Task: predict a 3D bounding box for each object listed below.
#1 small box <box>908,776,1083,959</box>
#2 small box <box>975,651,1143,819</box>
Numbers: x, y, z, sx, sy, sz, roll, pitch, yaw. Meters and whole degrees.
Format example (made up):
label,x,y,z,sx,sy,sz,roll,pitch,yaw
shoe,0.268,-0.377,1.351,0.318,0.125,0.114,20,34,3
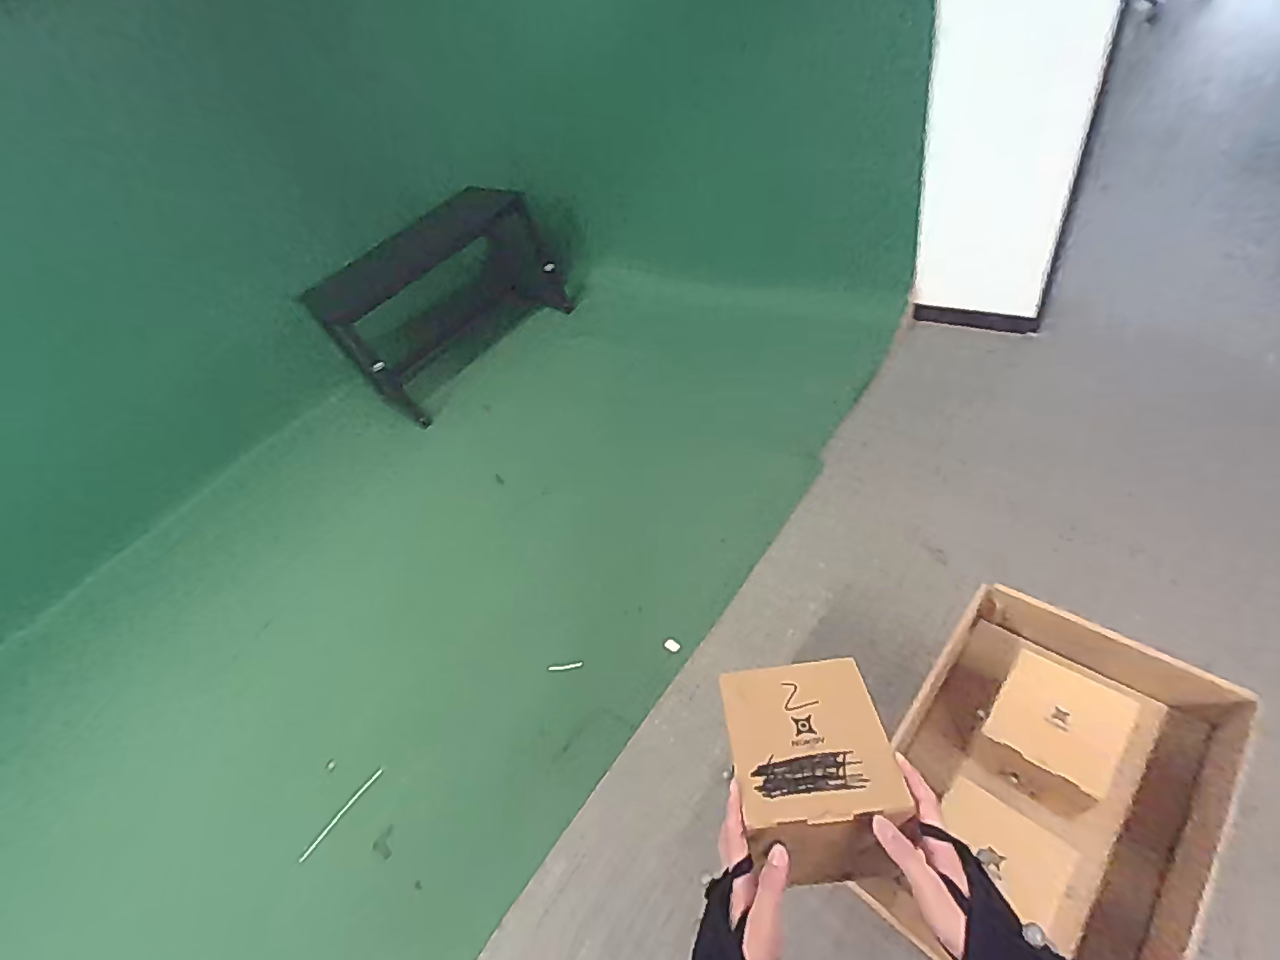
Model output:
label,x,y,z,sx,sy,sz,roll,pitch,yaw
small box,0.529,0.603,0.828,0.168,0.176,0.179,27,64,39
small box,0.697,0.434,0.919,0.168,0.176,0.179,26,65,37
